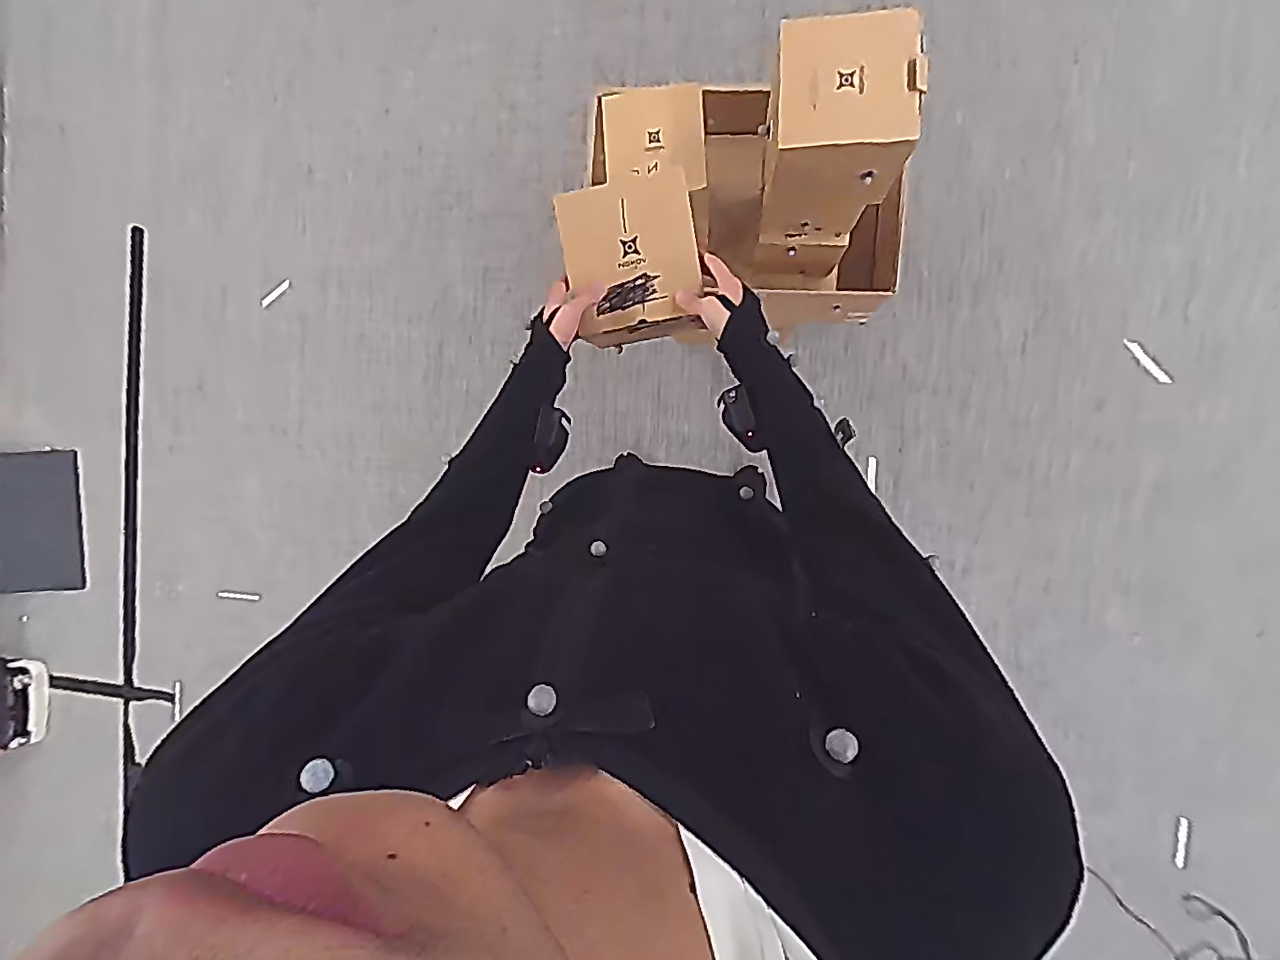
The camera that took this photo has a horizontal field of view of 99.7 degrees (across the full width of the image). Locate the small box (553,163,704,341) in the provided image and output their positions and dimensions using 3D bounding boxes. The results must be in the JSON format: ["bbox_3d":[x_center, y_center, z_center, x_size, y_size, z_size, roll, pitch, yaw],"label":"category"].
[{"bbox_3d":[-0.006,-0.292,0.737,0.168,0.176,0.179,-9,97,6],"label":"small box"}]

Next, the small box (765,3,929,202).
[{"bbox_3d":[0.276,-0.510,0.755,0.179,0.176,0.168,1,91,7],"label":"small box"}]

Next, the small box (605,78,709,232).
[{"bbox_3d":[0.036,-0.555,0.952,0.168,0.176,0.179,-3,92,8],"label":"small box"}]
